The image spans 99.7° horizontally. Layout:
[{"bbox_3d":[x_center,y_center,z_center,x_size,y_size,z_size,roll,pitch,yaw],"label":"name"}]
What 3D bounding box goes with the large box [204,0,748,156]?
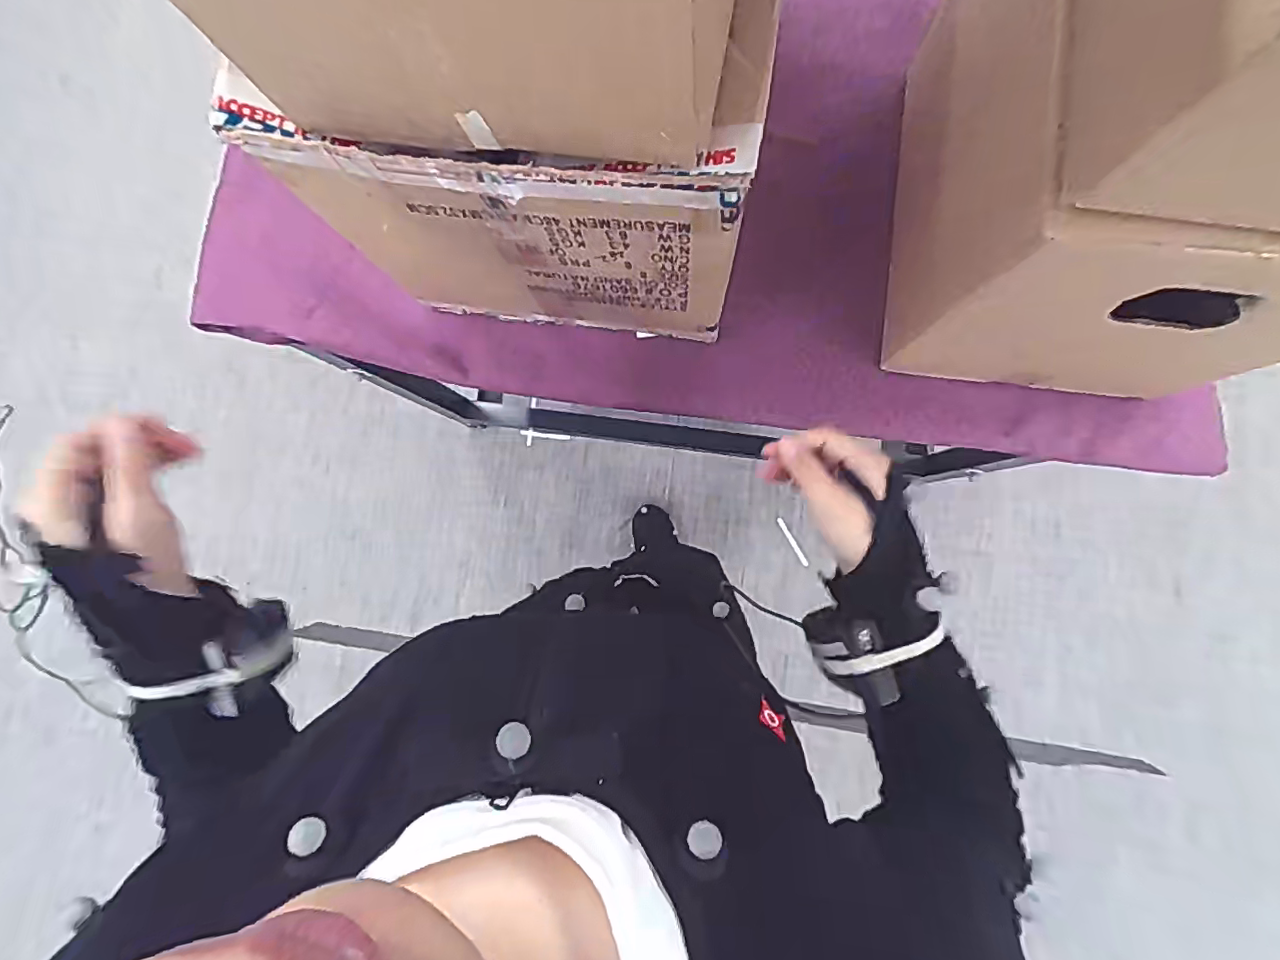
[{"bbox_3d":[-0.078,-0.448,0.252,0.320,0.320,0.408,9,86,8],"label":"large box"}]
